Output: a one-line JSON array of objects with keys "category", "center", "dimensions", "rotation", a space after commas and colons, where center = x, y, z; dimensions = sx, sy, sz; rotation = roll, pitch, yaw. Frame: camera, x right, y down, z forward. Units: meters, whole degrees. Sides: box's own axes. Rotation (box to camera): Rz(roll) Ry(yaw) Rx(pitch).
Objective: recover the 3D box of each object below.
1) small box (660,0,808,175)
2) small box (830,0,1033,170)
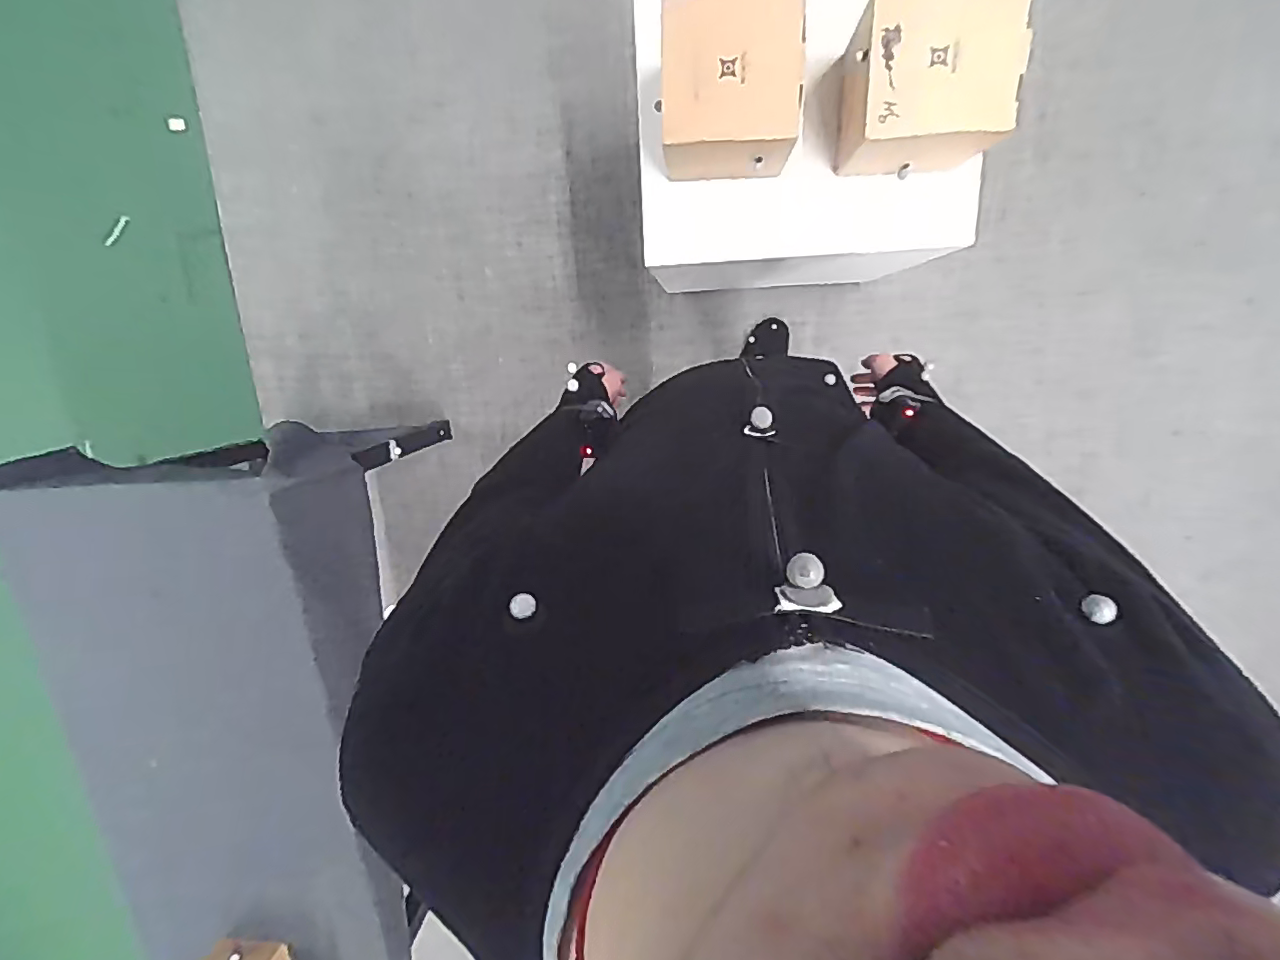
[{"category": "small box", "center": [0.118, -0.528, 0.732], "dimensions": [0.179, 0.176, 0.168], "rotation": [0, 104, 6]}, {"category": "small box", "center": [0.366, -0.521, 0.709], "dimensions": [0.179, 0.176, 0.168], "rotation": [0, 105, 5]}]
